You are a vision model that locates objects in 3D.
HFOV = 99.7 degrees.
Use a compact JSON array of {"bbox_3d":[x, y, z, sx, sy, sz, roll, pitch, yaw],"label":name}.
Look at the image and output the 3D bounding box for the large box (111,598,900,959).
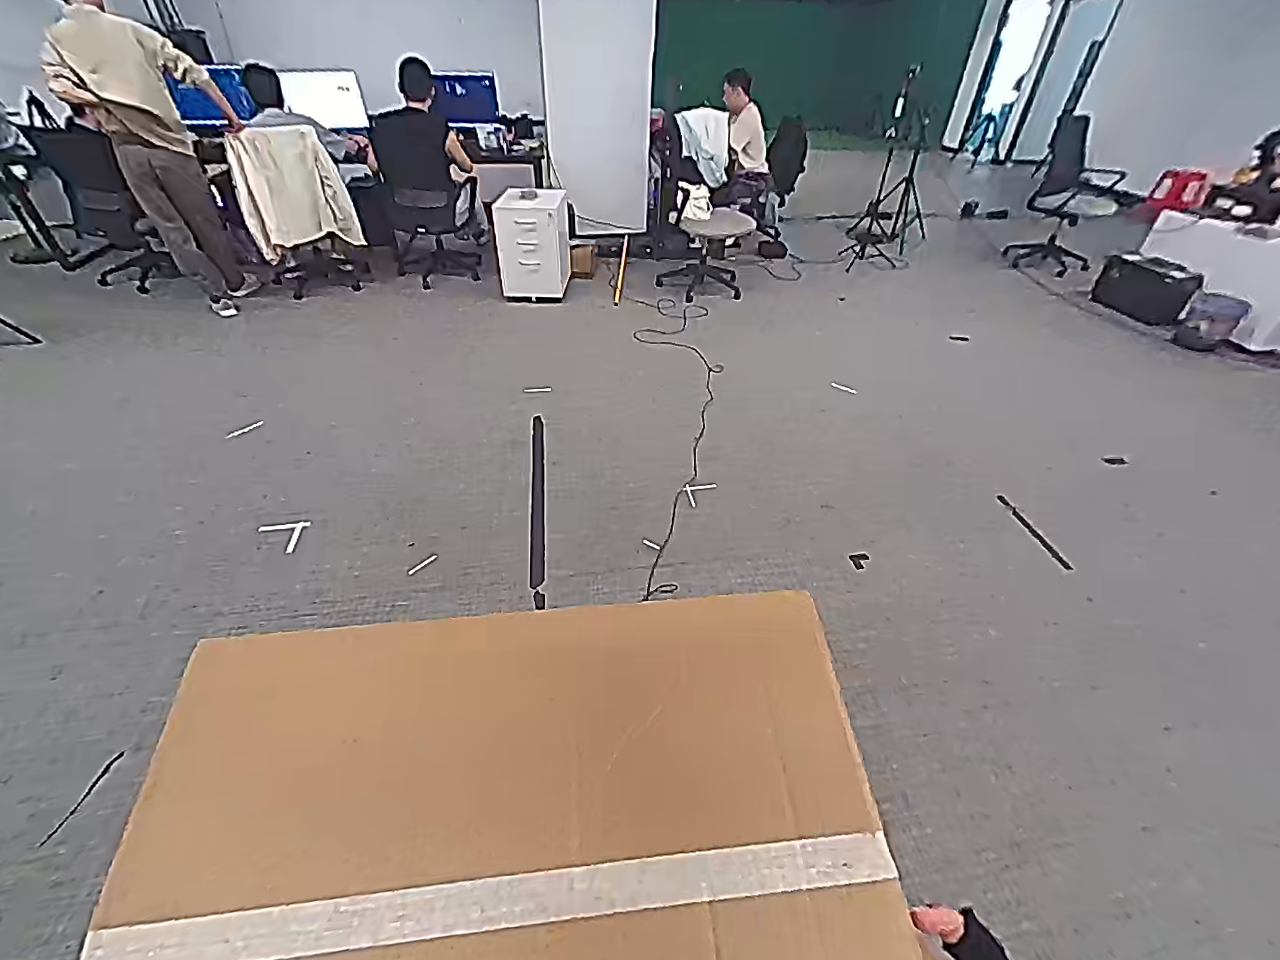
[{"bbox_3d":[-0.073,0.311,0.406,0.408,0.320,0.320,-4,55,-5],"label":"large box"}]
